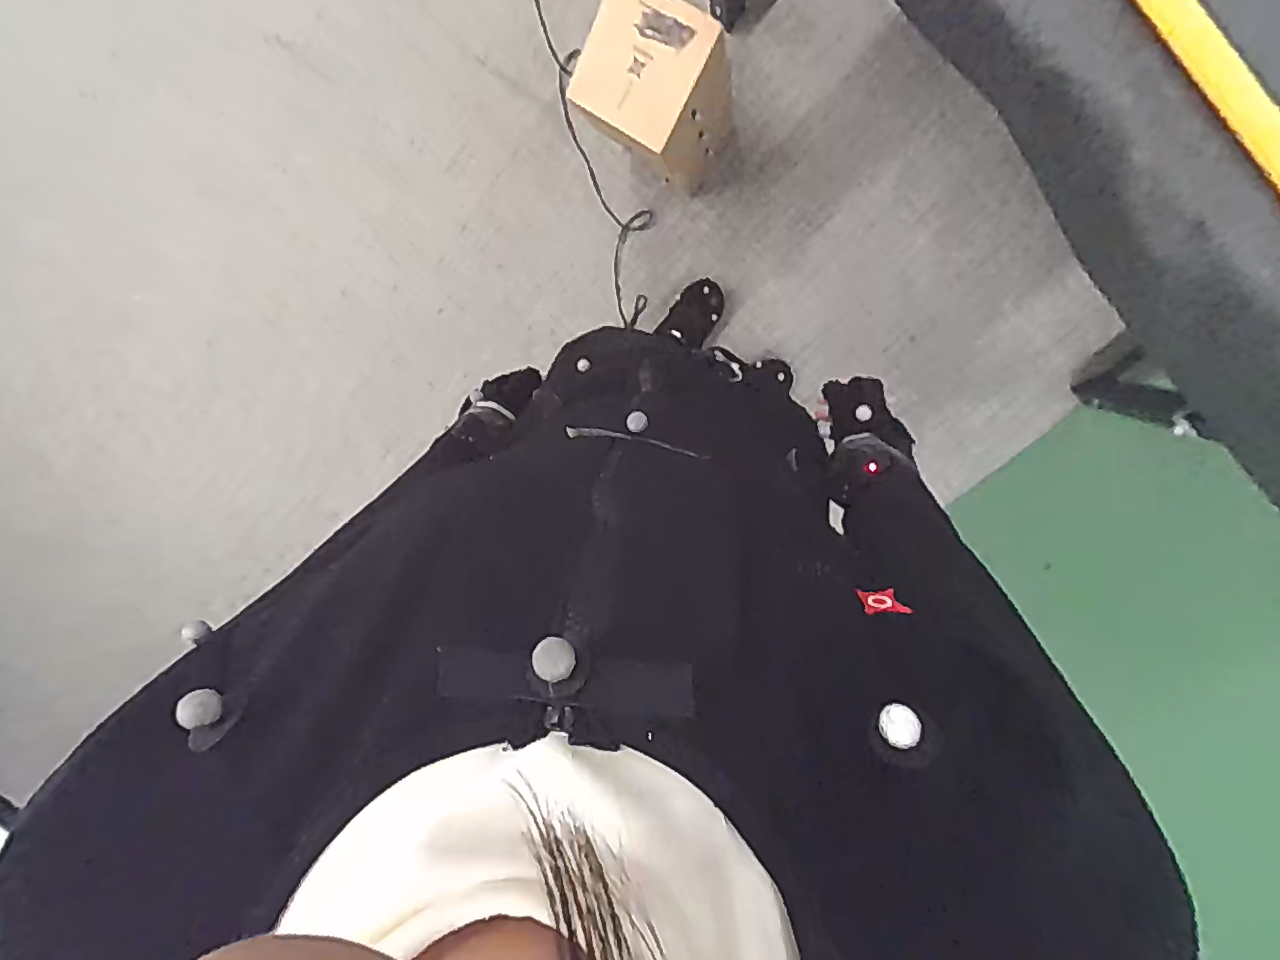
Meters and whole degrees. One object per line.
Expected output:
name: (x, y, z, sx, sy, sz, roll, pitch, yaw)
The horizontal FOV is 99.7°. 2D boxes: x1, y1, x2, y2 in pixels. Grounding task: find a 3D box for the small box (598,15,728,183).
small box: (0.051, -0.675, 0.984, 0.168, 0.176, 0.179, 29, 111, 3)
